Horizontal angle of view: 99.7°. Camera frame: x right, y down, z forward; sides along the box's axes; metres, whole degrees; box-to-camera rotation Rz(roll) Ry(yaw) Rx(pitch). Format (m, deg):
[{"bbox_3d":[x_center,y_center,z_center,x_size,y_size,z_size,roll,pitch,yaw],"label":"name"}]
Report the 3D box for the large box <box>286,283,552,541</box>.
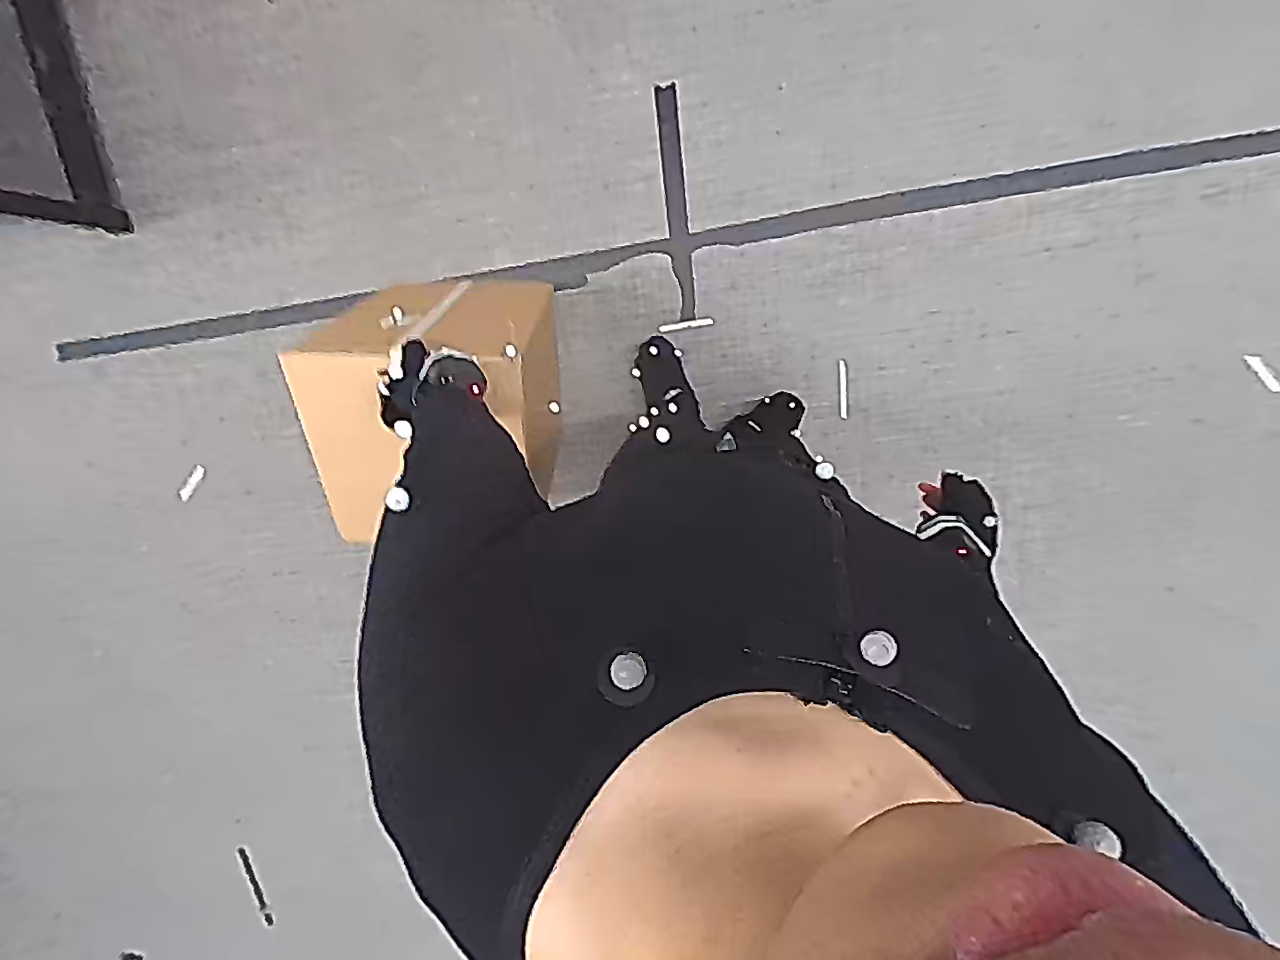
[{"bbox_3d":[-0.327,-0.137,0.953,0.320,0.408,0.320,1,123,-3],"label":"large box"}]
